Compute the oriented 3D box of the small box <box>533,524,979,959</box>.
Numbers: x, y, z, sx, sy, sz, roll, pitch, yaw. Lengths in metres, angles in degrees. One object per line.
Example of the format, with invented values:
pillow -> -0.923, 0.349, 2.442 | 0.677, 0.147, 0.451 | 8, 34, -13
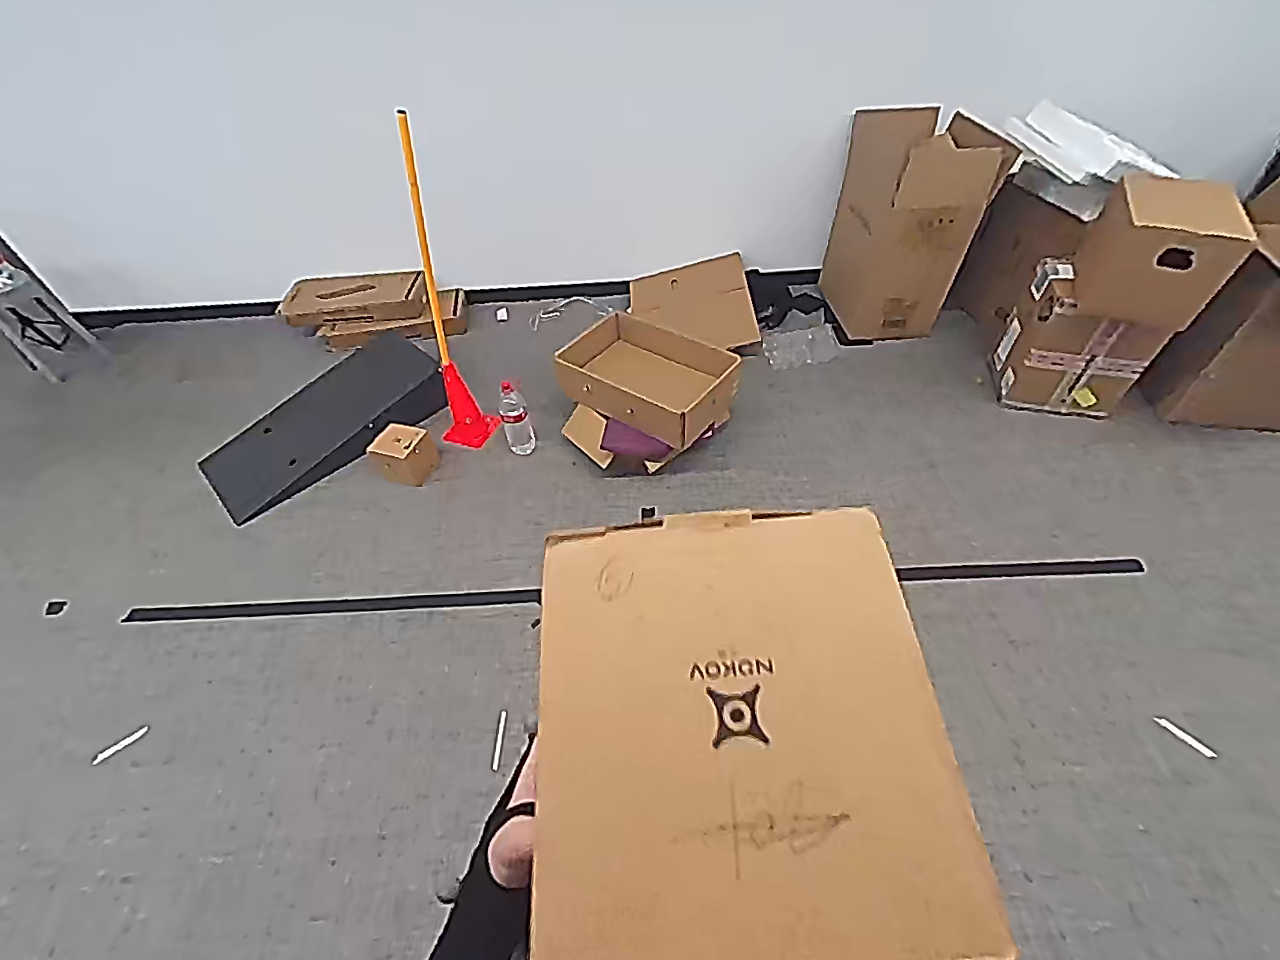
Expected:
small box -> 0.039, 0.142, 0.306 | 0.168, 0.176, 0.179 | -4, 60, -1
